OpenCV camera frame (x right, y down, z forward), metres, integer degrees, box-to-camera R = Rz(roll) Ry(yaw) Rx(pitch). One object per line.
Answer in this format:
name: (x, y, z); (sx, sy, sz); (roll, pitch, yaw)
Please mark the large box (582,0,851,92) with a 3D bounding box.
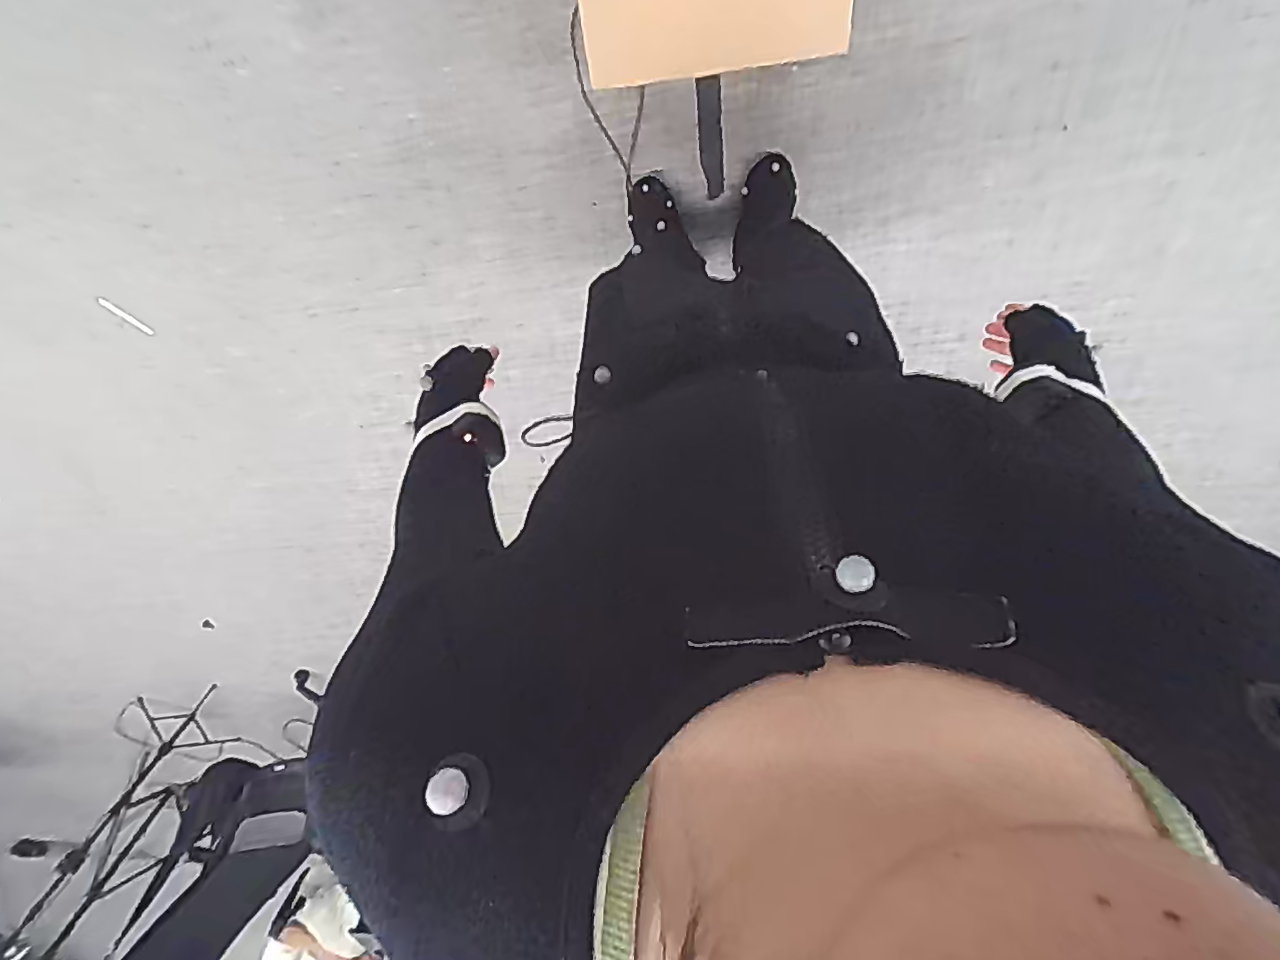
large box: (0.114, -0.866, 0.881); (0.408, 0.320, 0.320); (-3, 129, 8)
